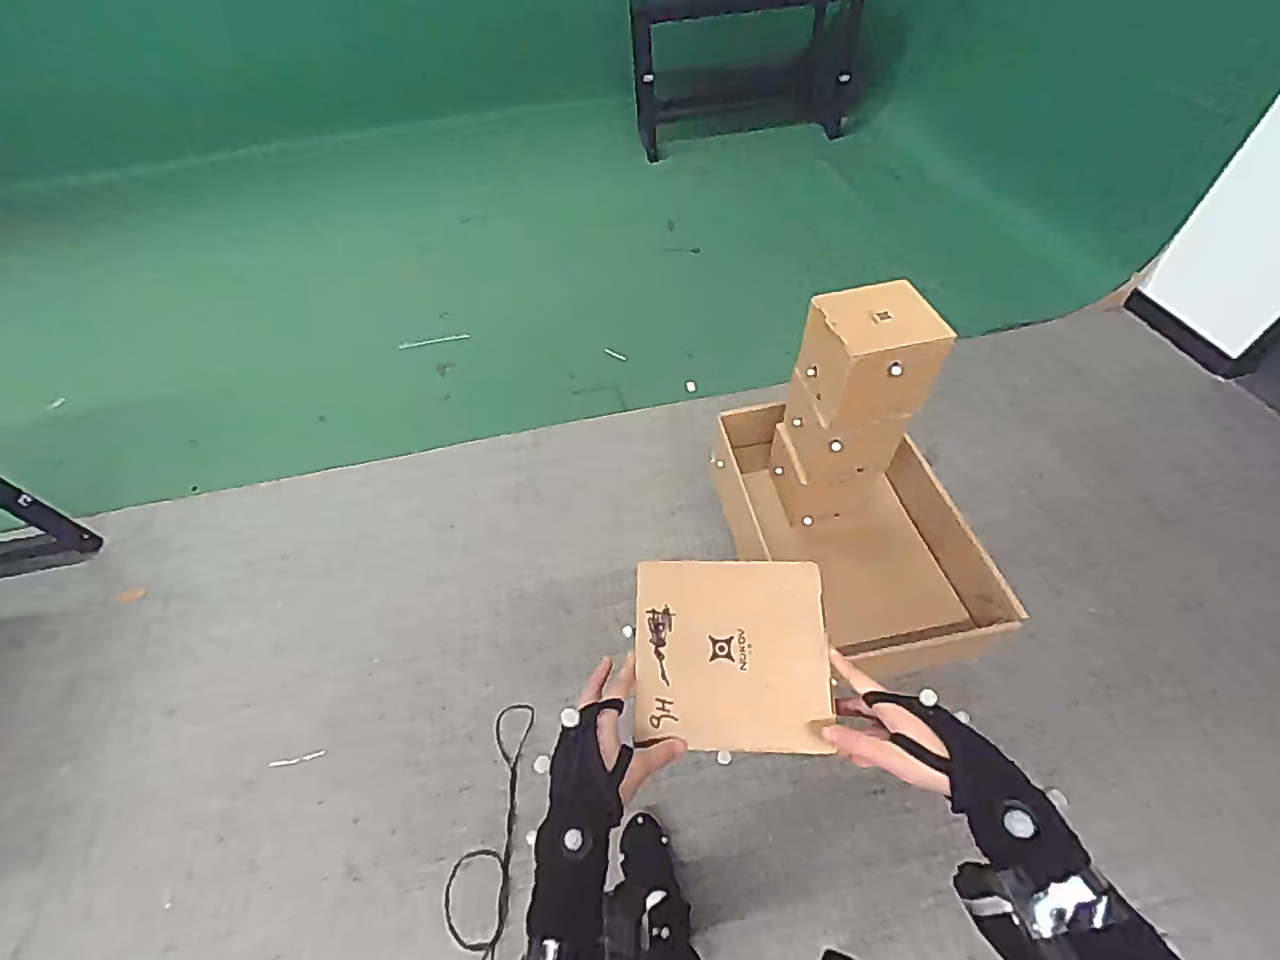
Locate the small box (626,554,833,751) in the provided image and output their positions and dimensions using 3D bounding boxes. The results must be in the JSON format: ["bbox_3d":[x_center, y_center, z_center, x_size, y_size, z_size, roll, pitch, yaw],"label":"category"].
[{"bbox_3d":[0.082,0.182,0.558,0.179,0.176,0.168,1,64,4],"label":"small box"}]

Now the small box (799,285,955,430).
[{"bbox_3d":[0.403,-0.213,0.955,0.179,0.176,0.168,-12,52,-3],"label":"small box"}]
